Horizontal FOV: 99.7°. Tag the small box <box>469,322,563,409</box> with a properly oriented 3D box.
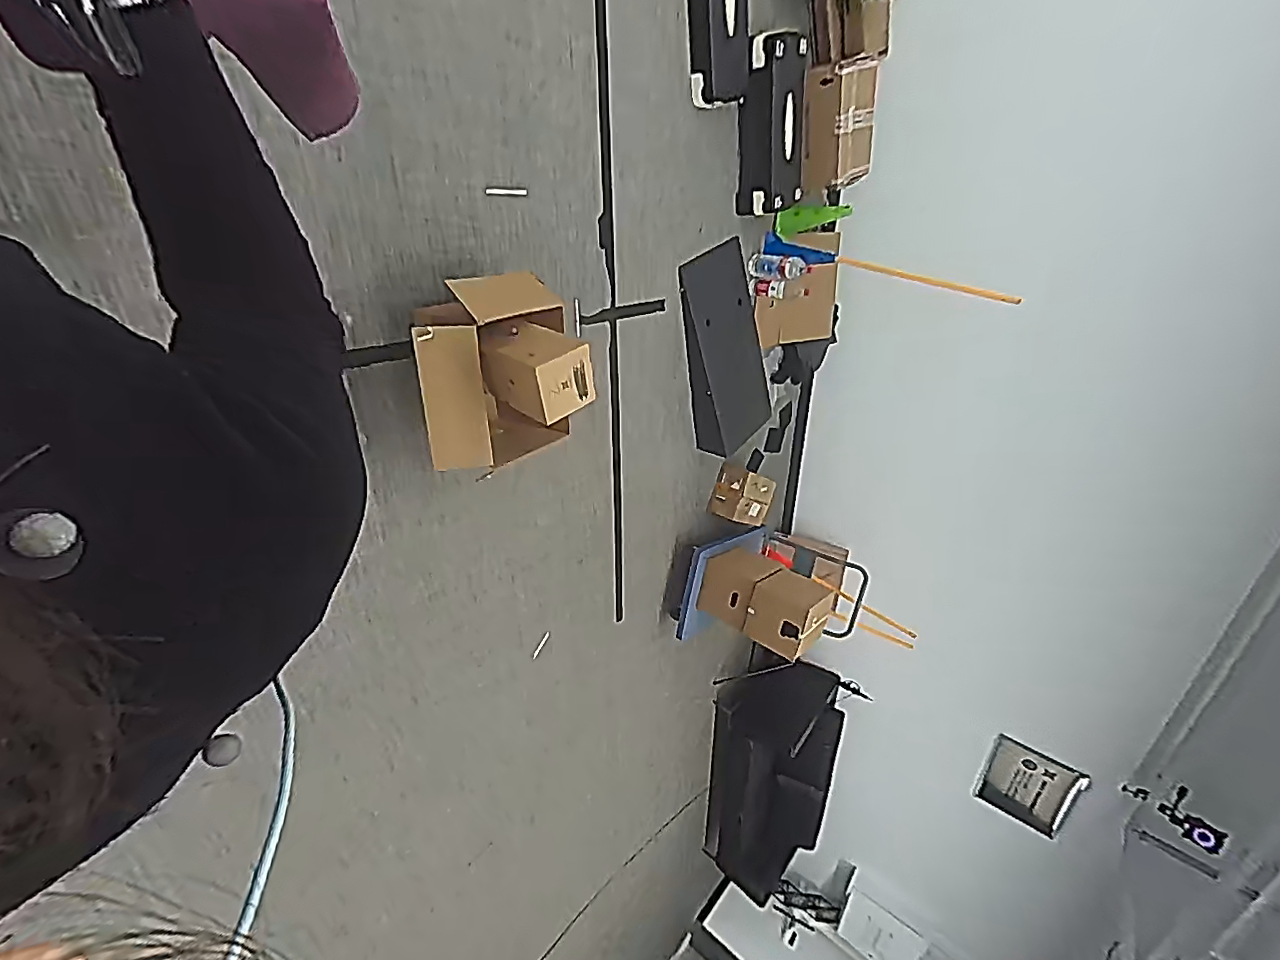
[{"bbox_3d":[-0.355,-0.336,1.545,0.168,0.176,0.179,-44,141,-26],"label":"small box"}]
